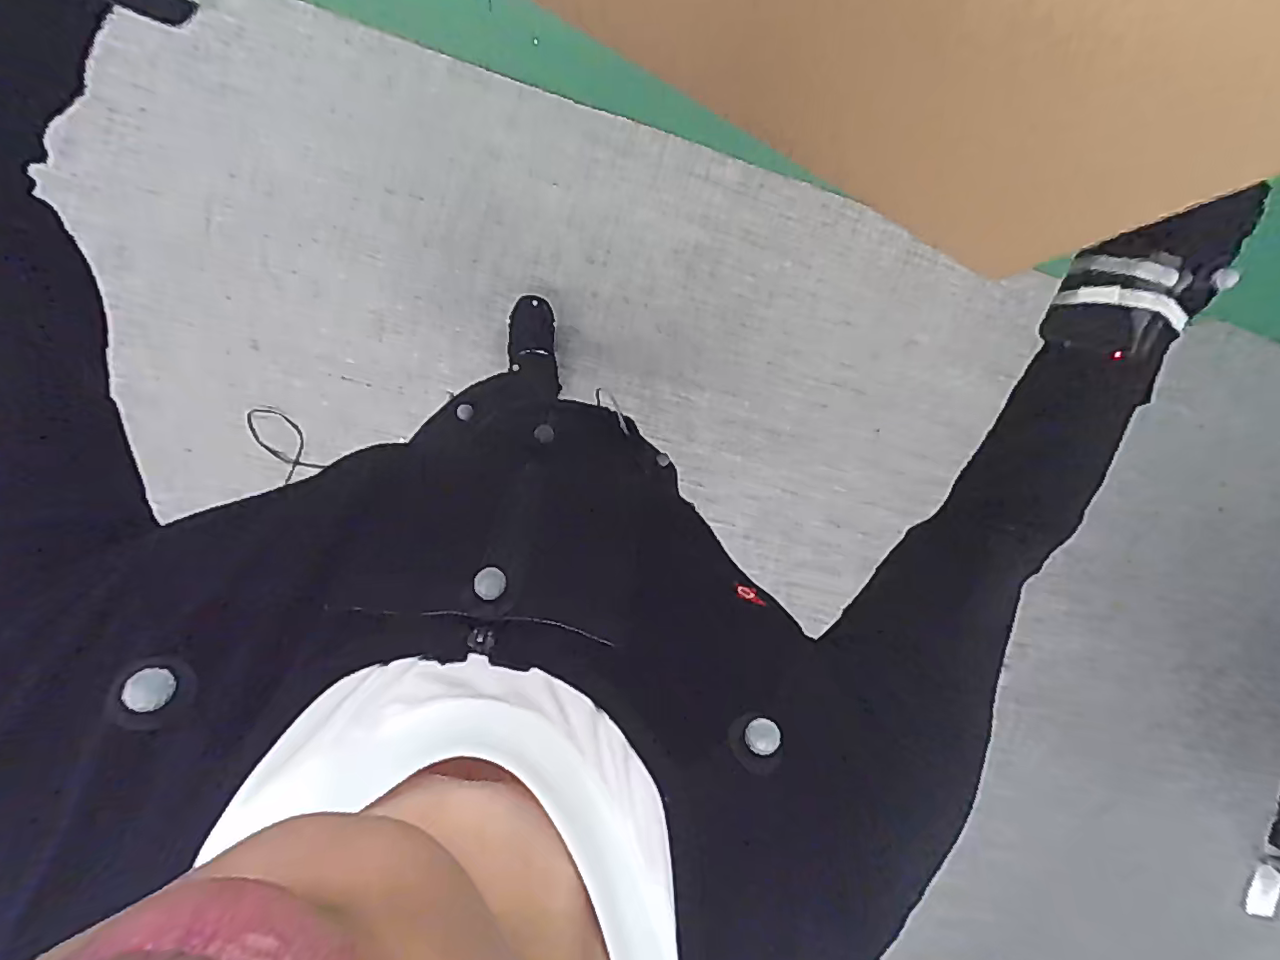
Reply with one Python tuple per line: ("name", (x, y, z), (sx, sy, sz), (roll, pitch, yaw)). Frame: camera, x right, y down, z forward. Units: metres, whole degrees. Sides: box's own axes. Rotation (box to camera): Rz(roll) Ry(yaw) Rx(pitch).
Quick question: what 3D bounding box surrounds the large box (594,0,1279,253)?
("large box", (0.164, -0.350, 0.184), (0.408, 0.320, 0.320), (14, 82, -26))
